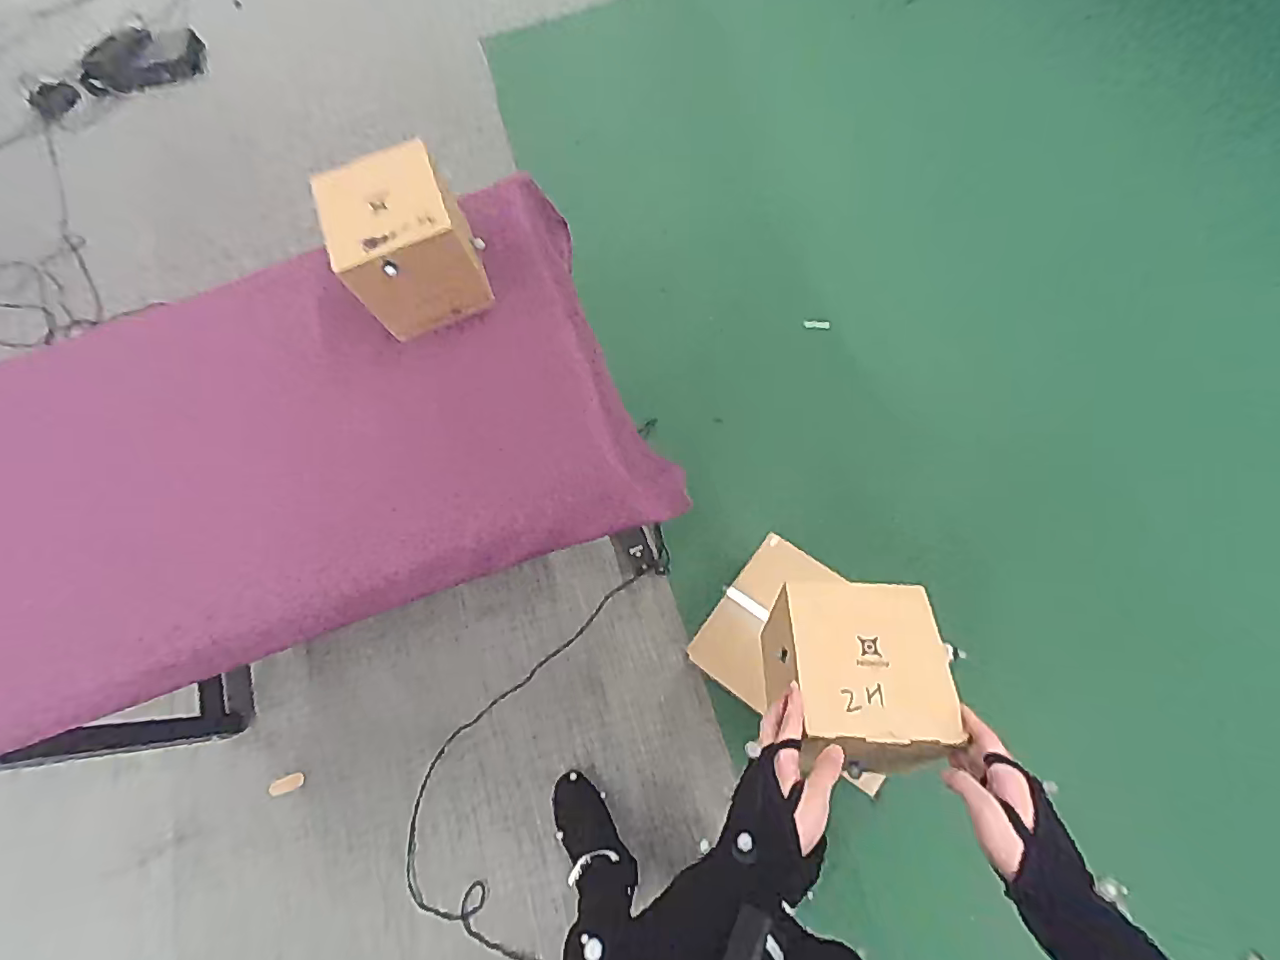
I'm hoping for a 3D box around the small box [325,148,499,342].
[{"bbox_3d":[-0.334,-0.342,0.811,0.168,0.176,0.179,-22,70,-1],"label":"small box"}]

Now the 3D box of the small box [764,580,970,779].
[{"bbox_3d":[0.248,0.240,0.647,0.168,0.176,0.179,2,52,3],"label":"small box"}]
